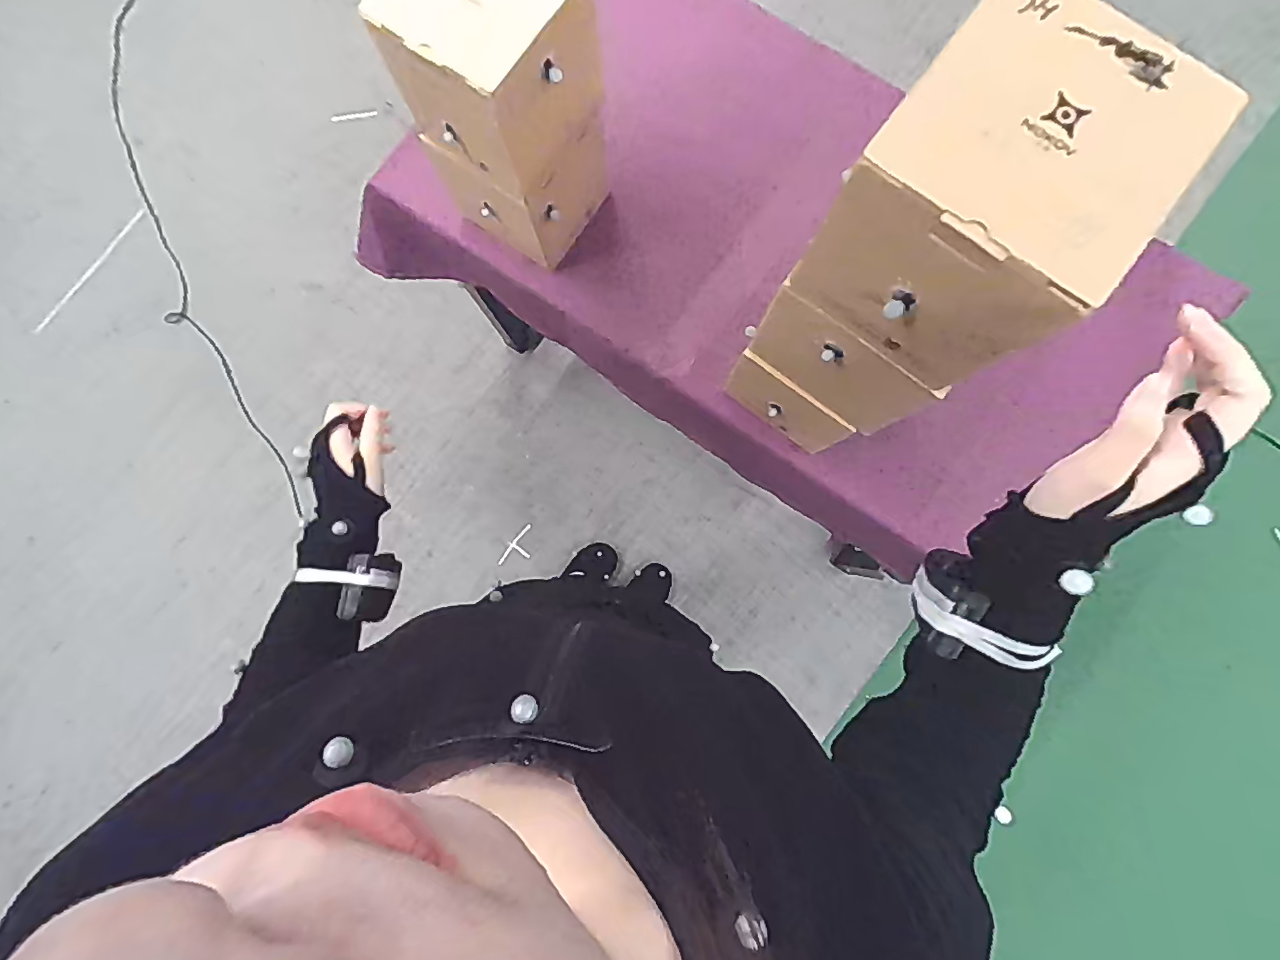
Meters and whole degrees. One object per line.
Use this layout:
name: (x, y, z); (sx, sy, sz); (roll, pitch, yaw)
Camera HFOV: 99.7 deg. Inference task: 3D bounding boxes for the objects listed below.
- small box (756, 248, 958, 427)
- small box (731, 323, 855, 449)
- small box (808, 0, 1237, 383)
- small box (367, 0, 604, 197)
small box: (0.248, -0.176, 0.573); (0.179, 0.176, 0.168); (38, 86, 3)
small box: (0.241, -0.162, 0.737); (0.168, 0.176, 0.179); (38, 85, 3)
small box: (0.251, -0.200, 0.410); (0.168, 0.176, 0.179); (38, 86, 4)
small box: (-0.152, -0.470, 0.605); (0.168, 0.176, 0.179); (35, 86, 4)
